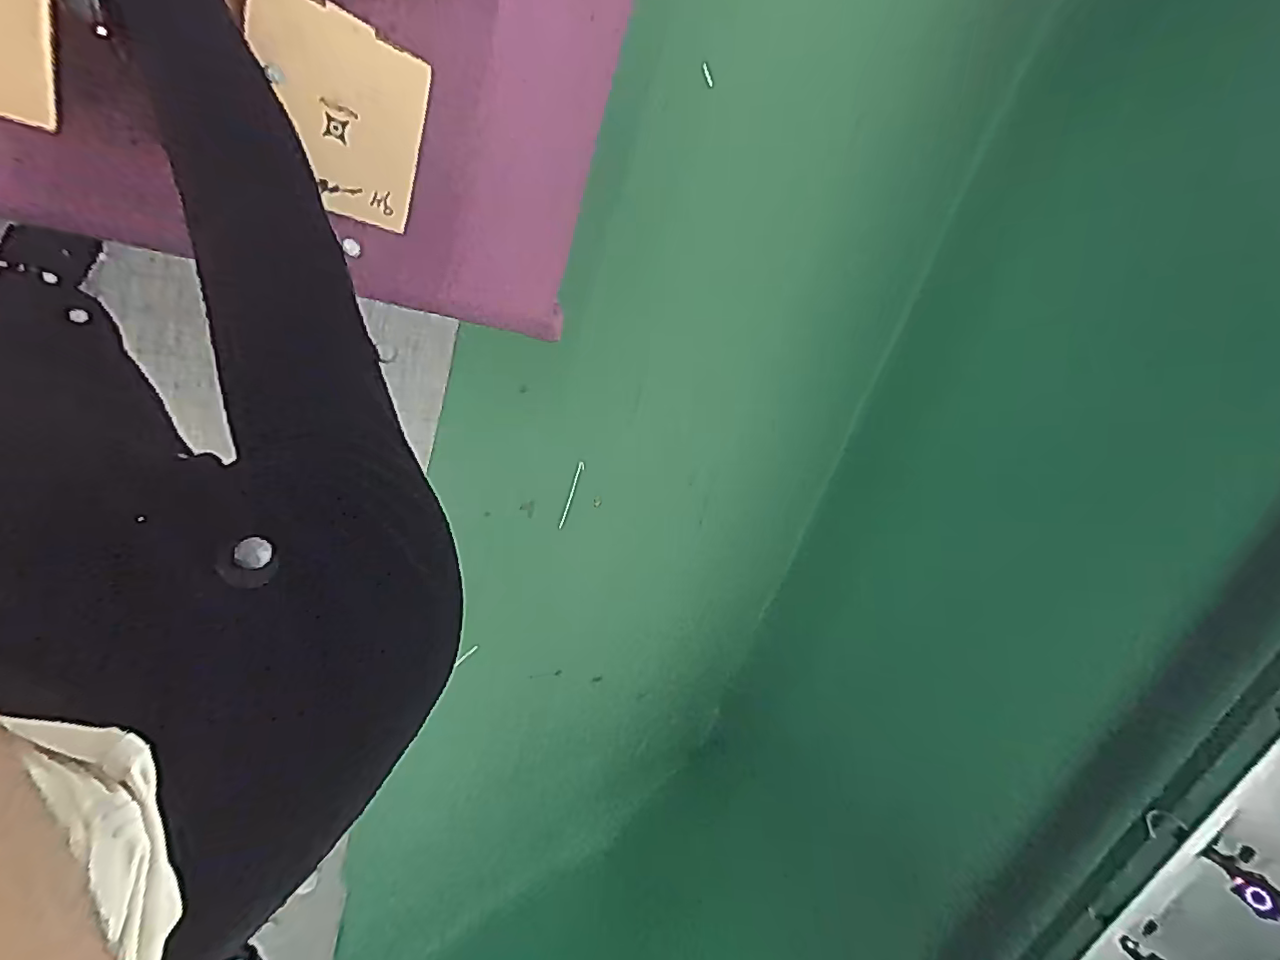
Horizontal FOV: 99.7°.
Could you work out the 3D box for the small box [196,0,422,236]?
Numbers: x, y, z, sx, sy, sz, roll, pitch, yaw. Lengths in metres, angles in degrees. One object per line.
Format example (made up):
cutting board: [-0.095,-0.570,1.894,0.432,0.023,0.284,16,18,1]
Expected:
small box: [-0.366,-0.393,0.590,0.168,0.176,0.179,1,114,-46]

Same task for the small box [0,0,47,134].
small box: [-0.559,-0.384,0.394,0.168,0.176,0.179,-1,117,-45]
